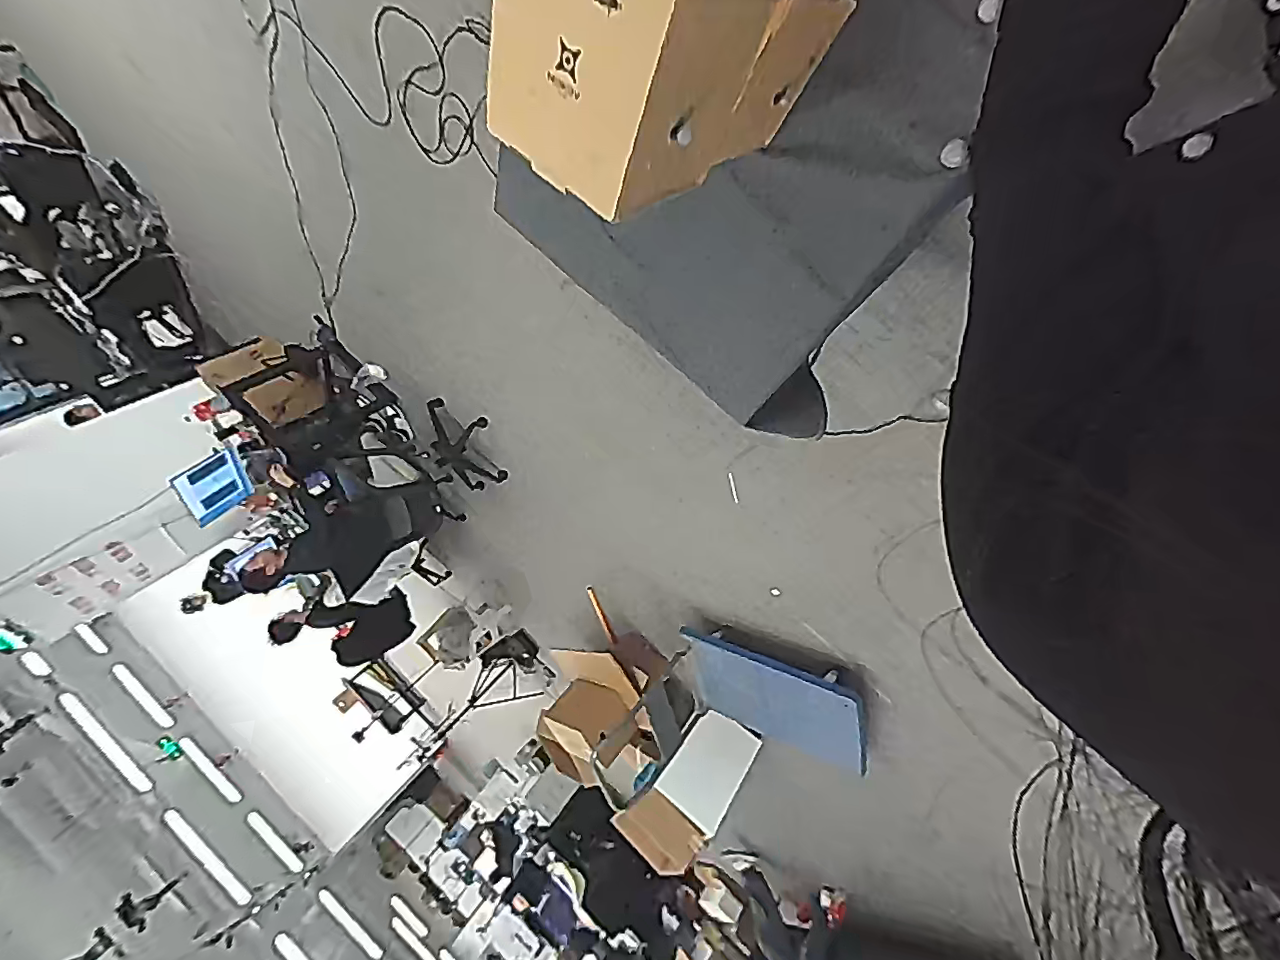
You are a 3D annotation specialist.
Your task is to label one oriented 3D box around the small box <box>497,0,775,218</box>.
[{"bbox_3d":[-0.006,-0.383,0.493,0.168,0.176,0.179,39,143,9],"label":"small box"}]
